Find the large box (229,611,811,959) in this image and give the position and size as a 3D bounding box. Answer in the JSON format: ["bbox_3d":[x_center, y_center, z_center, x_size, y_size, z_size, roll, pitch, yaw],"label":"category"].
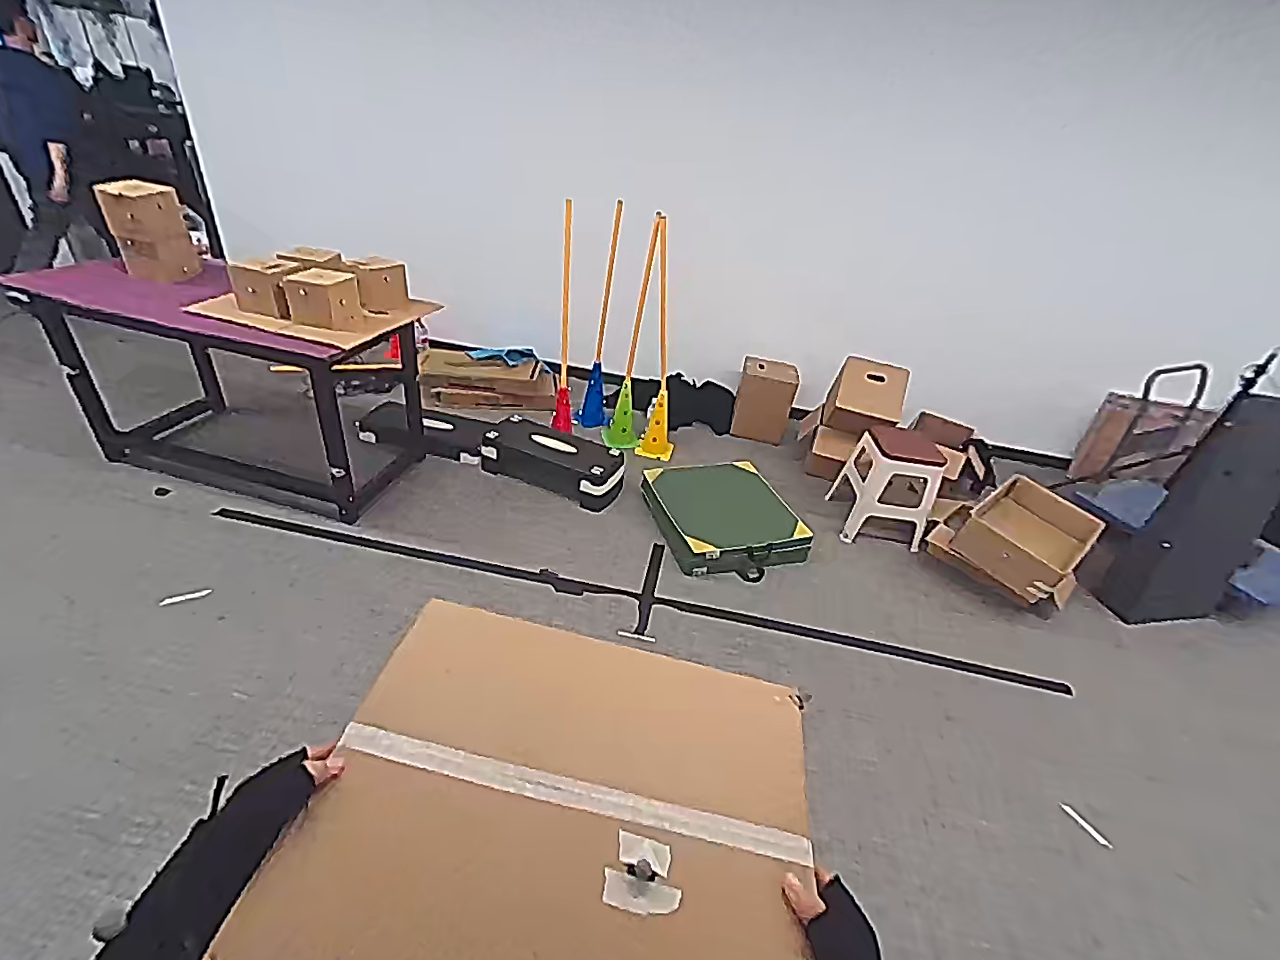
[{"bbox_3d":[-0.080,0.389,0.551,0.408,0.320,0.320,14,37,2],"label":"large box"}]
